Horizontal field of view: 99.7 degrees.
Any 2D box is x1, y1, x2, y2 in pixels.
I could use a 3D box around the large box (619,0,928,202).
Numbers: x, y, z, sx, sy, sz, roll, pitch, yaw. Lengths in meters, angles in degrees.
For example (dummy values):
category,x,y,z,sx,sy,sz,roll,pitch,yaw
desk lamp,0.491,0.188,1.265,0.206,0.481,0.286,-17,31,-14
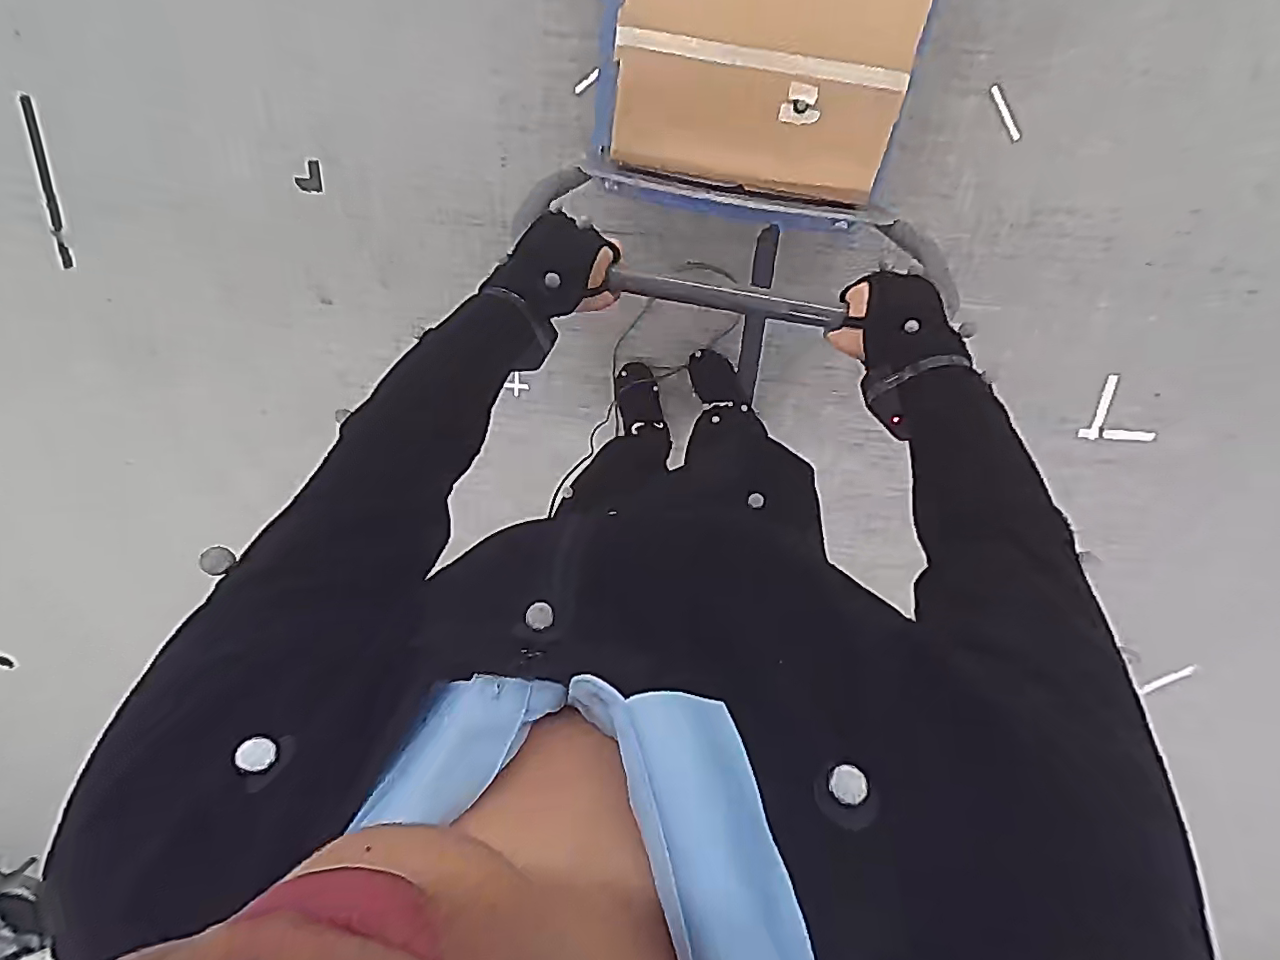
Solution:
category,x,y,z,sx,sy,sz,roll,pitch,yaw
large box,0.193,-0.673,0.904,0.408,0.320,0.320,10,122,1
